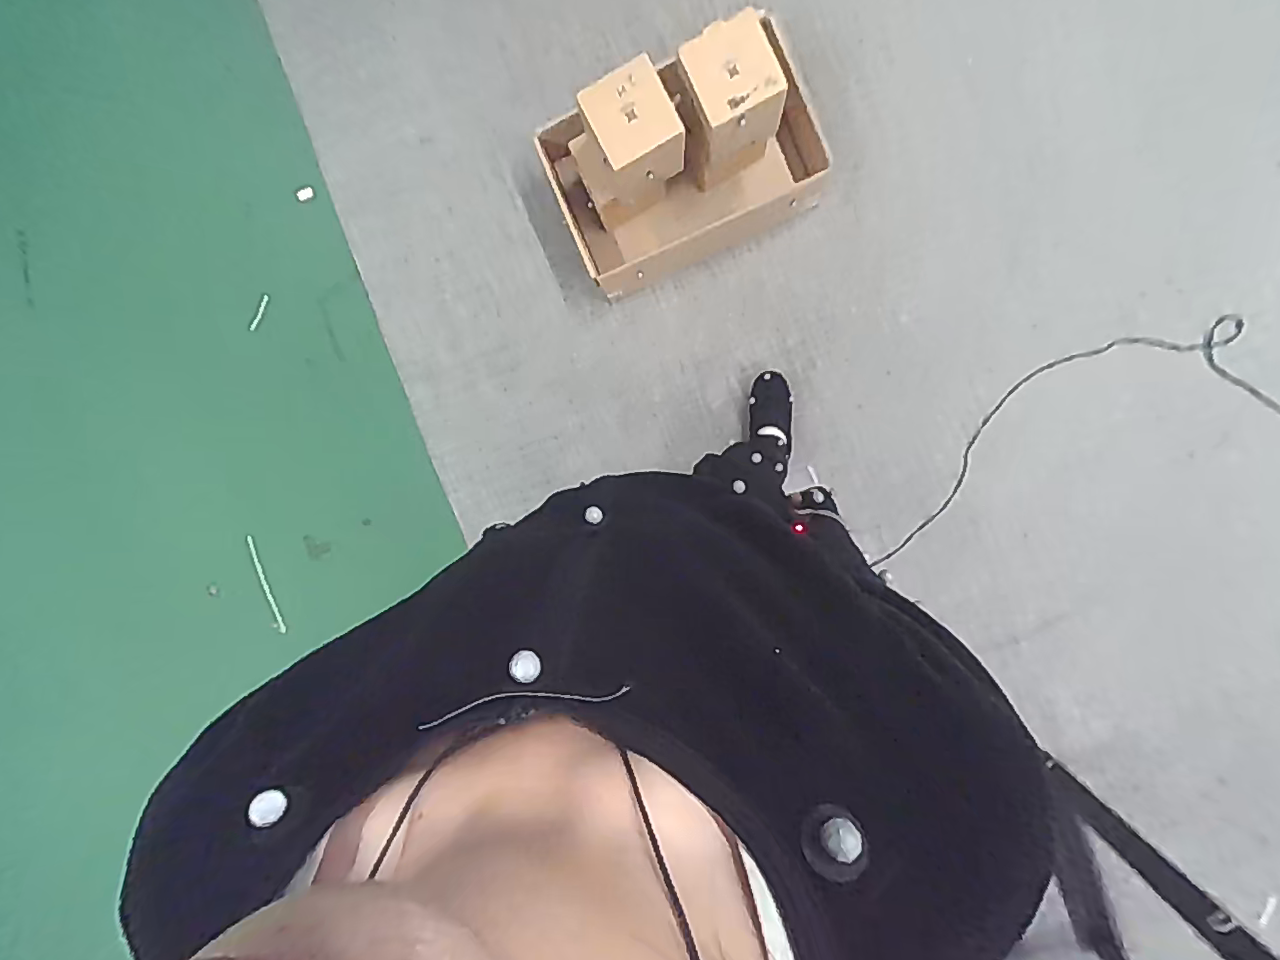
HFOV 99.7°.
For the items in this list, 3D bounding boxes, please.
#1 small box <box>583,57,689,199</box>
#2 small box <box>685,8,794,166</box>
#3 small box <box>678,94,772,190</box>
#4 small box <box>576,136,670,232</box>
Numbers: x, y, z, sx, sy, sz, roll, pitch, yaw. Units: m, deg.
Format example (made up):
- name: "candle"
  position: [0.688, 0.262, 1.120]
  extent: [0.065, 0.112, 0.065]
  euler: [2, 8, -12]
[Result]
- name: "small box"
  position: [-0.001, -0.745, 1.176]
  extent: [0.168, 0.176, 0.179]
  euler: [-27, 91, 6]
- name: "small box"
  position: [0.205, -0.815, 1.143]
  extent: [0.168, 0.176, 0.179]
  euler: [-25, 90, 10]
- name: "small box"
  position: [0.211, -0.844, 1.306]
  extent: [0.179, 0.176, 0.168]
  euler: [-29, 90, 9]
- name: "small box"
  position: [-0.034, -0.754, 1.343]
  extent: [0.179, 0.176, 0.168]
  euler: [-26, 92, 6]
